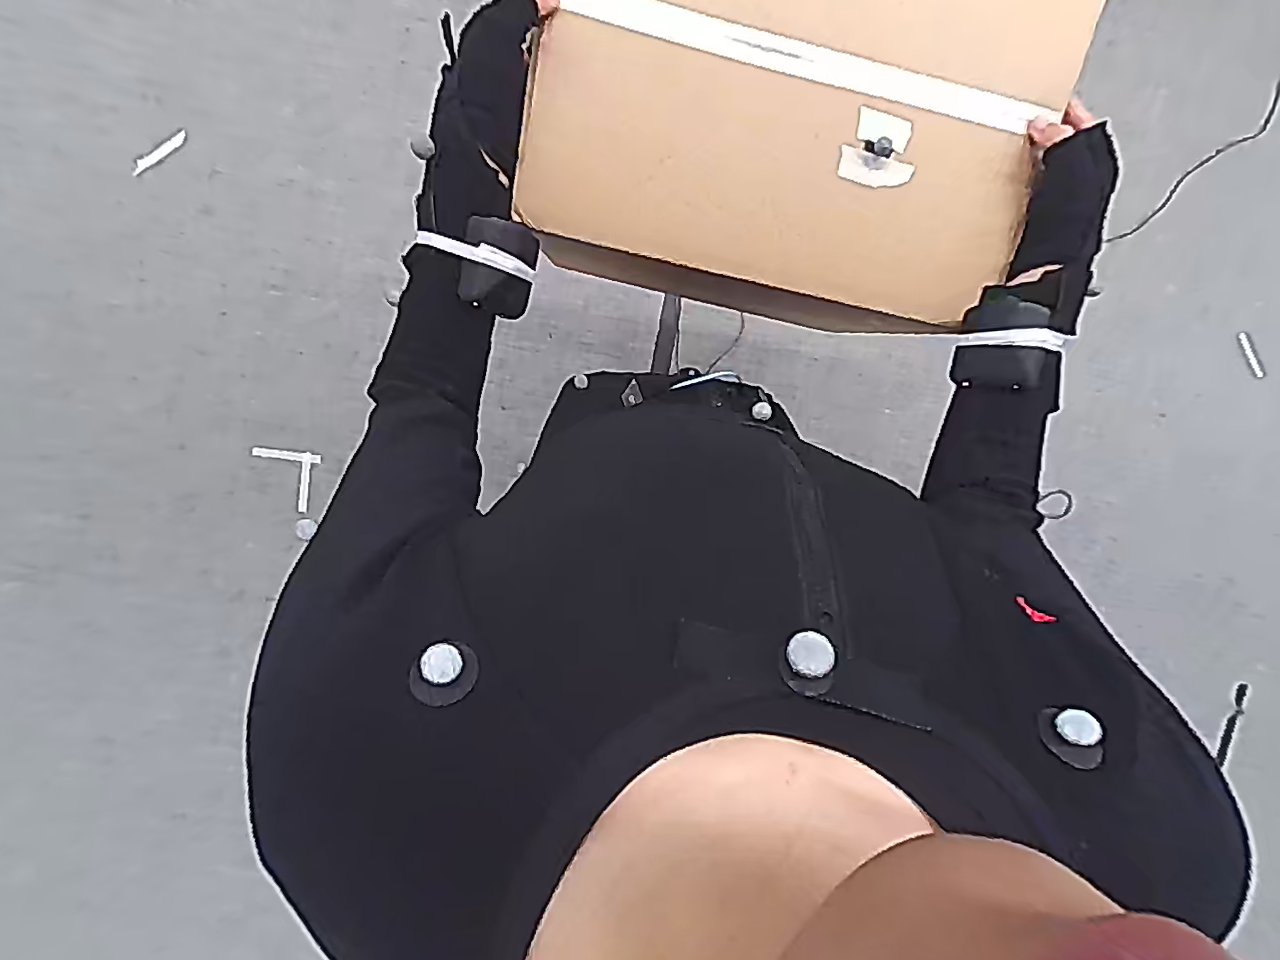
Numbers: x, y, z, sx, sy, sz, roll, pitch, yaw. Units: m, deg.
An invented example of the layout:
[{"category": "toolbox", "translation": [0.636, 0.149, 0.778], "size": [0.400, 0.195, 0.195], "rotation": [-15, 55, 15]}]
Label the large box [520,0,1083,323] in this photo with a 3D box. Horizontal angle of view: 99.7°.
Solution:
[{"category": "large box", "translation": [0.114, -0.356, 0.555], "size": [0.408, 0.320, 0.320], "rotation": [11, 106, -7]}]
